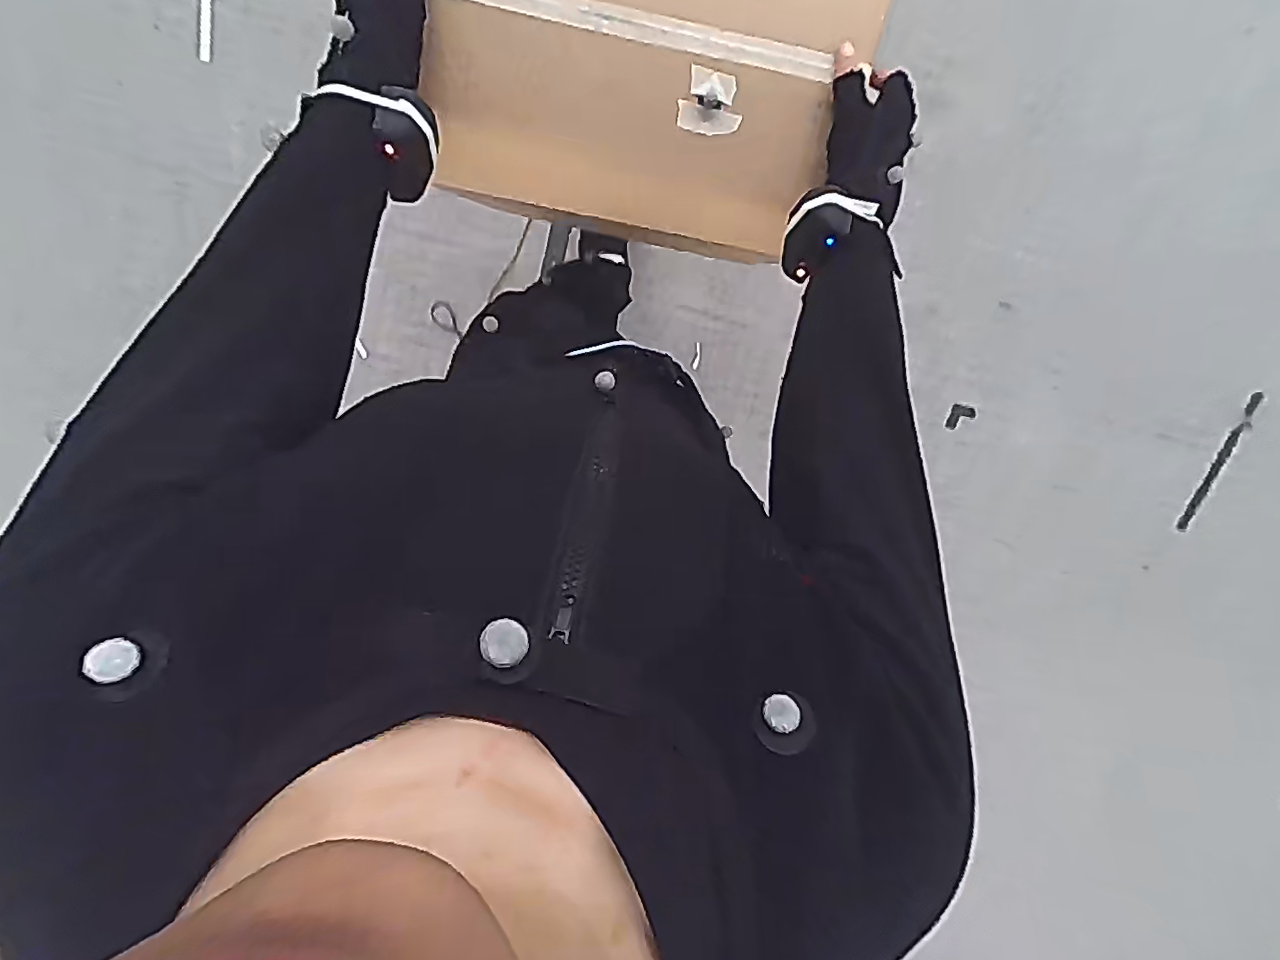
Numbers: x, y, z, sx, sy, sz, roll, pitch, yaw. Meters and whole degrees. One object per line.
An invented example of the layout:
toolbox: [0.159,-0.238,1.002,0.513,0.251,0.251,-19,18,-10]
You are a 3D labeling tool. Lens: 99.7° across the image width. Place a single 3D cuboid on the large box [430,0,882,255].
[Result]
large box: [0.008,-0.464,0.631,0.408,0.320,0.320,10,112,-5]
